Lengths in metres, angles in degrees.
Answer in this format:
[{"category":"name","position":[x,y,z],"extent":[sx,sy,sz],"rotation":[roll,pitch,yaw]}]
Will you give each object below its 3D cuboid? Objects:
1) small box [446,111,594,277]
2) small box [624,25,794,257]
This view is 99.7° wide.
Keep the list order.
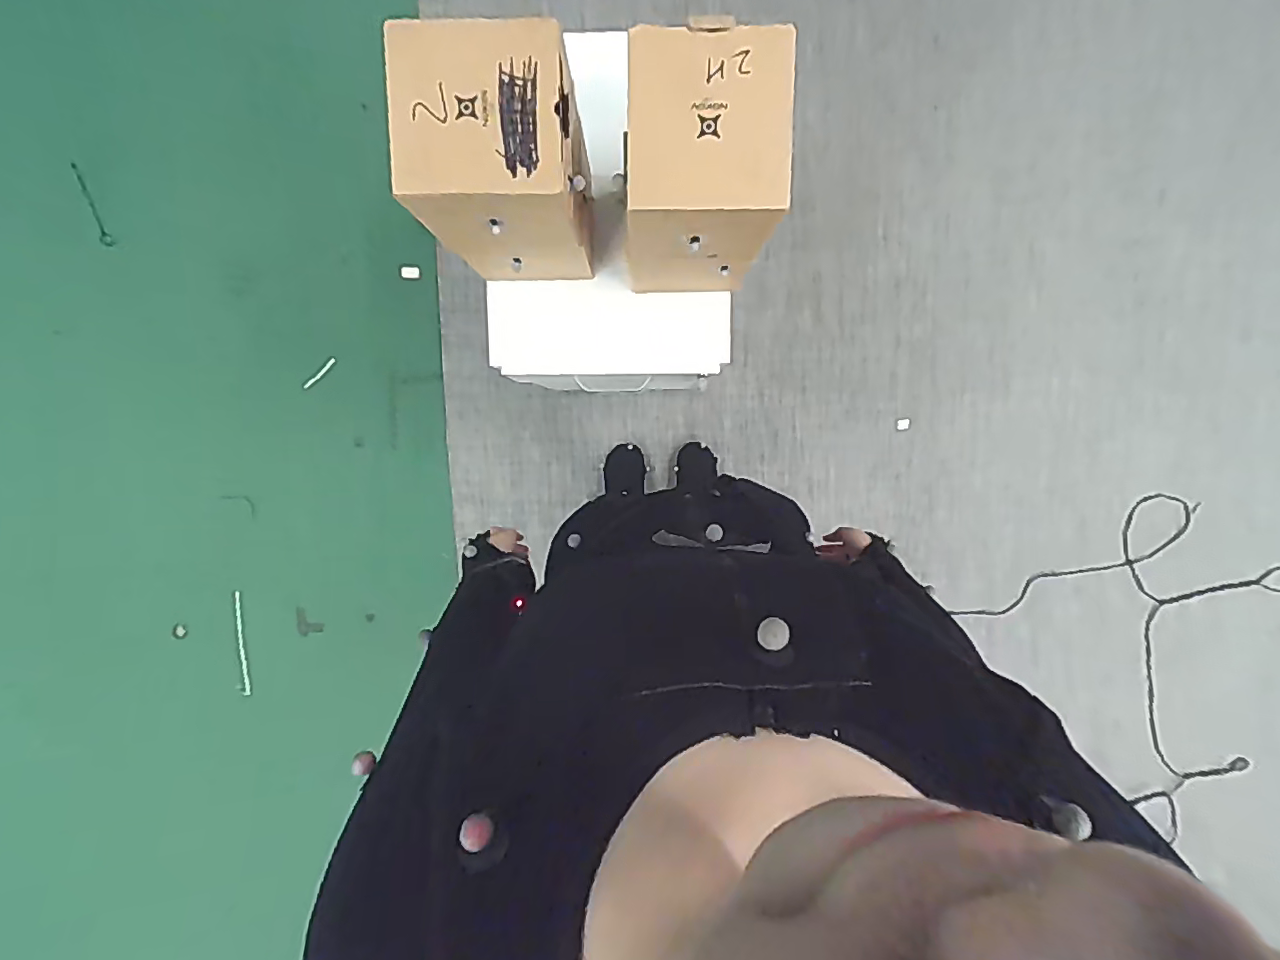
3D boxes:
[{"category":"small box","position":[-0.162,-0.399,0.780],"extent":[0.179,0.176,0.168],"rotation":[-1,96,-1]},{"category":"small box","position":[0.068,-0.365,0.615],"extent":[0.168,0.176,0.179],"rotation":[0,96,0]}]
